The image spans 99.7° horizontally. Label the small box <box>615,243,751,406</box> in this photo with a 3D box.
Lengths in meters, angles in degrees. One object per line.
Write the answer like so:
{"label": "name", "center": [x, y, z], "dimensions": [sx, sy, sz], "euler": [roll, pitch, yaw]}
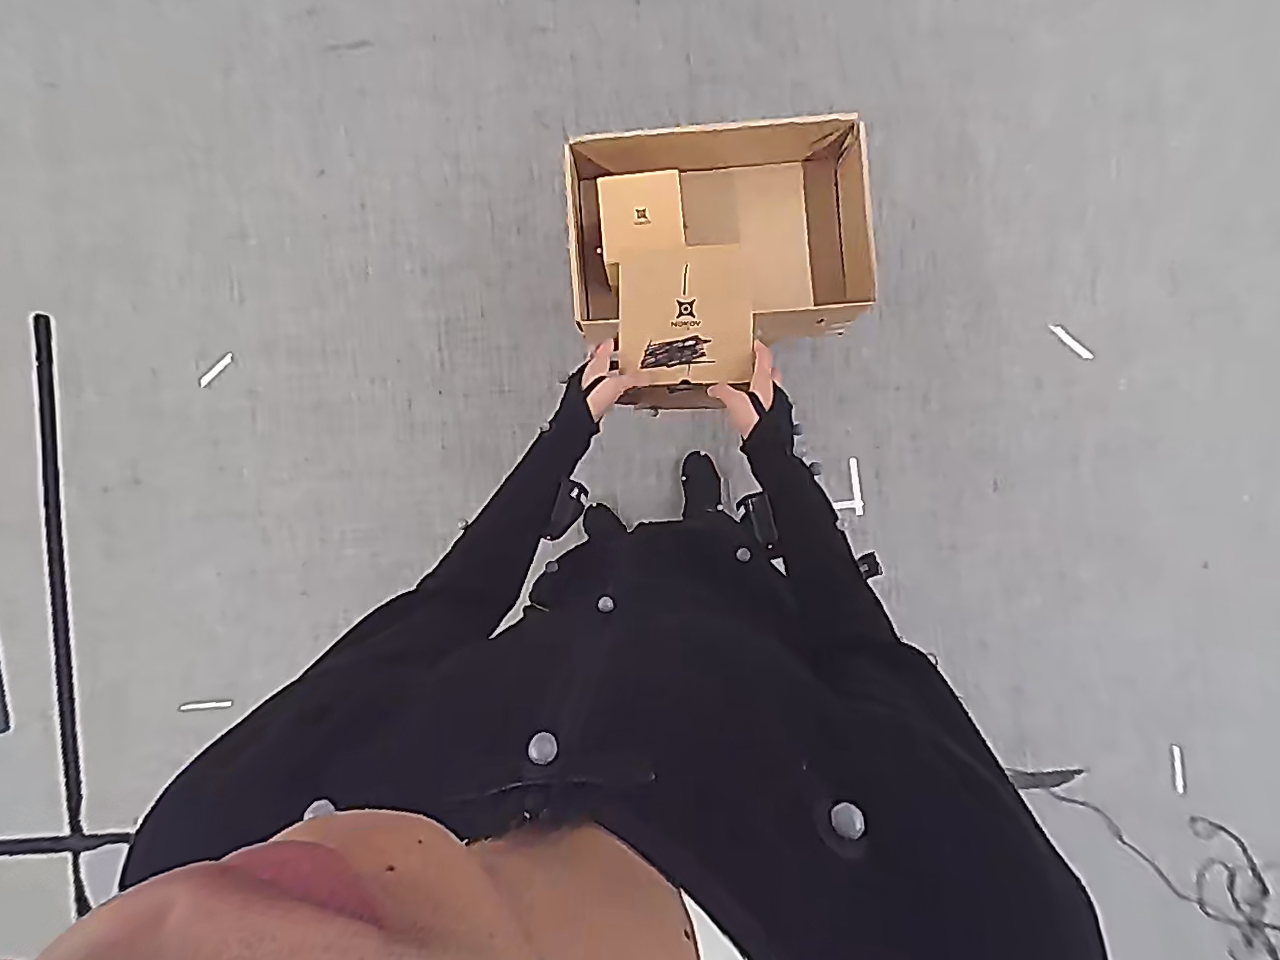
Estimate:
{"label": "small box", "center": [0.061, -0.197, 0.736], "dimensions": [0.168, 0.176, 0.179], "euler": [0, 88, 6]}

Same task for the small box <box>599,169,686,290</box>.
{"label": "small box", "center": [0.005, -0.524, 1.151], "dimensions": [0.168, 0.176, 0.179], "euler": [-5, 90, 1]}
